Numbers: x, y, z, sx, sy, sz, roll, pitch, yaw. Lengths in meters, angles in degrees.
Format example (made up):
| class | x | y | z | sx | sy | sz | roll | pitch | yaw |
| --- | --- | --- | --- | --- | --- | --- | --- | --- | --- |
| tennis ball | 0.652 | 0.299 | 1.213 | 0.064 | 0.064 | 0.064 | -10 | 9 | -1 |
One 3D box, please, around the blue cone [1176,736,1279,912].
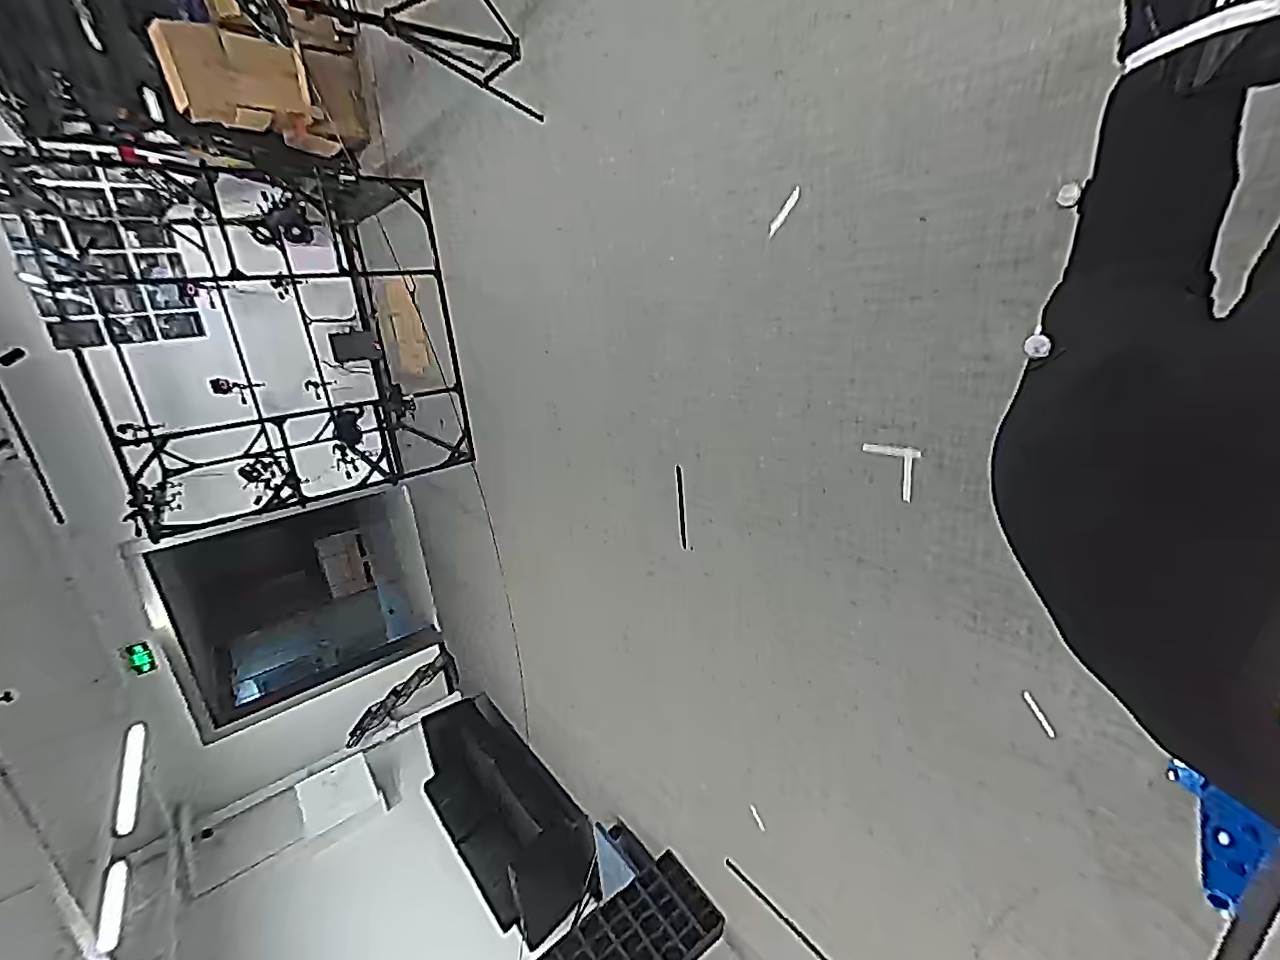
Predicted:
| class | x | y | z | sx | sy | sz | roll | pitch | yaw |
| --- | --- | --- | --- | --- | --- | --- | --- | --- | --- |
| blue cone | 1.169 | 0.693 | 1.052 | 0.193 | 0.380 | 0.192 | 43 | 137 | 36 |
